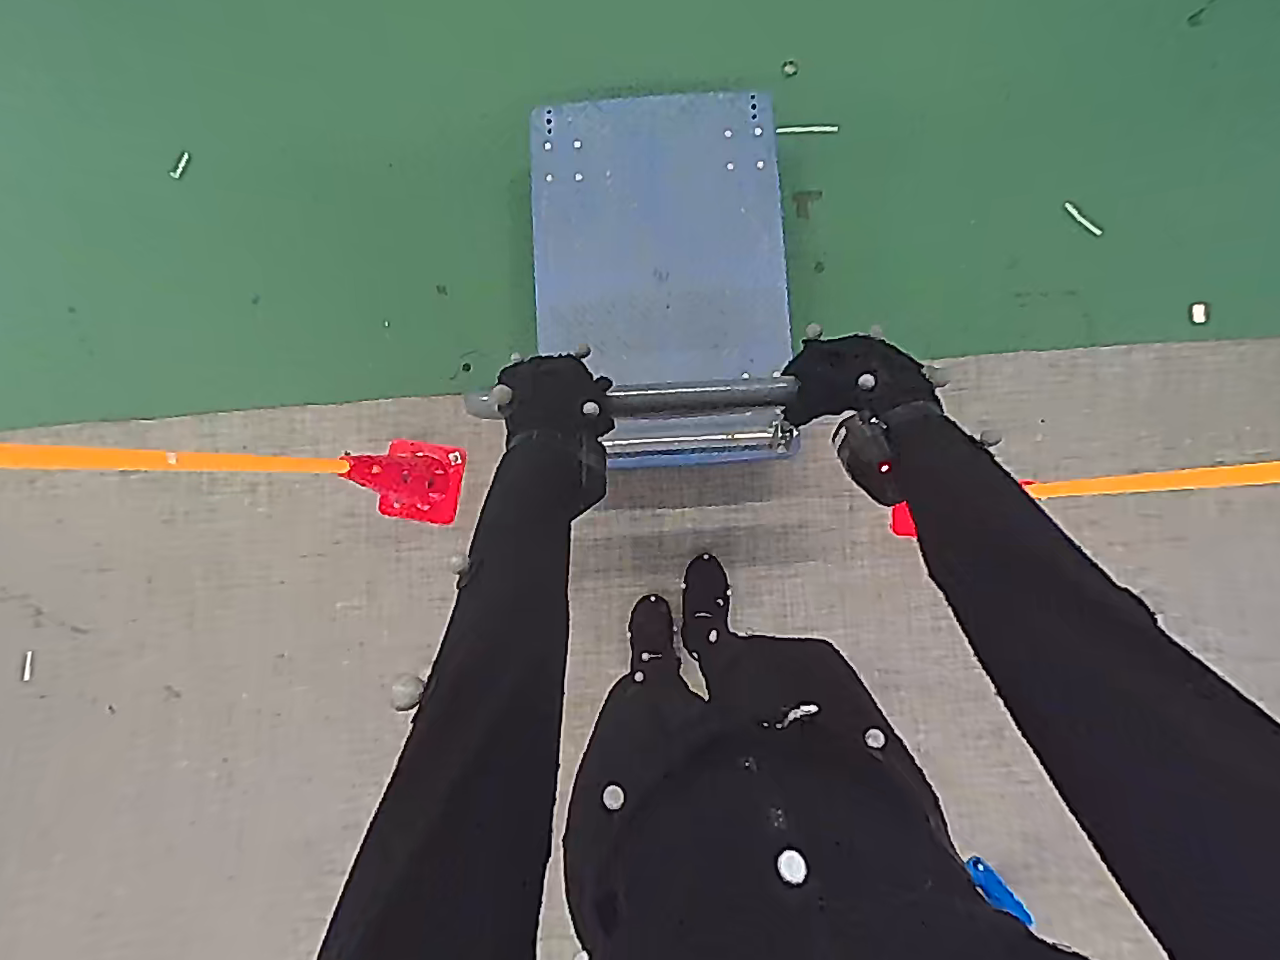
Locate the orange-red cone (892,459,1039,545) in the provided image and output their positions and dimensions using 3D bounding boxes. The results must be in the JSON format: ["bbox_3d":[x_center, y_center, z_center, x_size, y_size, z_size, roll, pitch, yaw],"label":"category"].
[{"bbox_3d":[0.732,0.041,1.179,0.198,0.360,0.199,8,86,2],"label":"orange-red cone"}]
